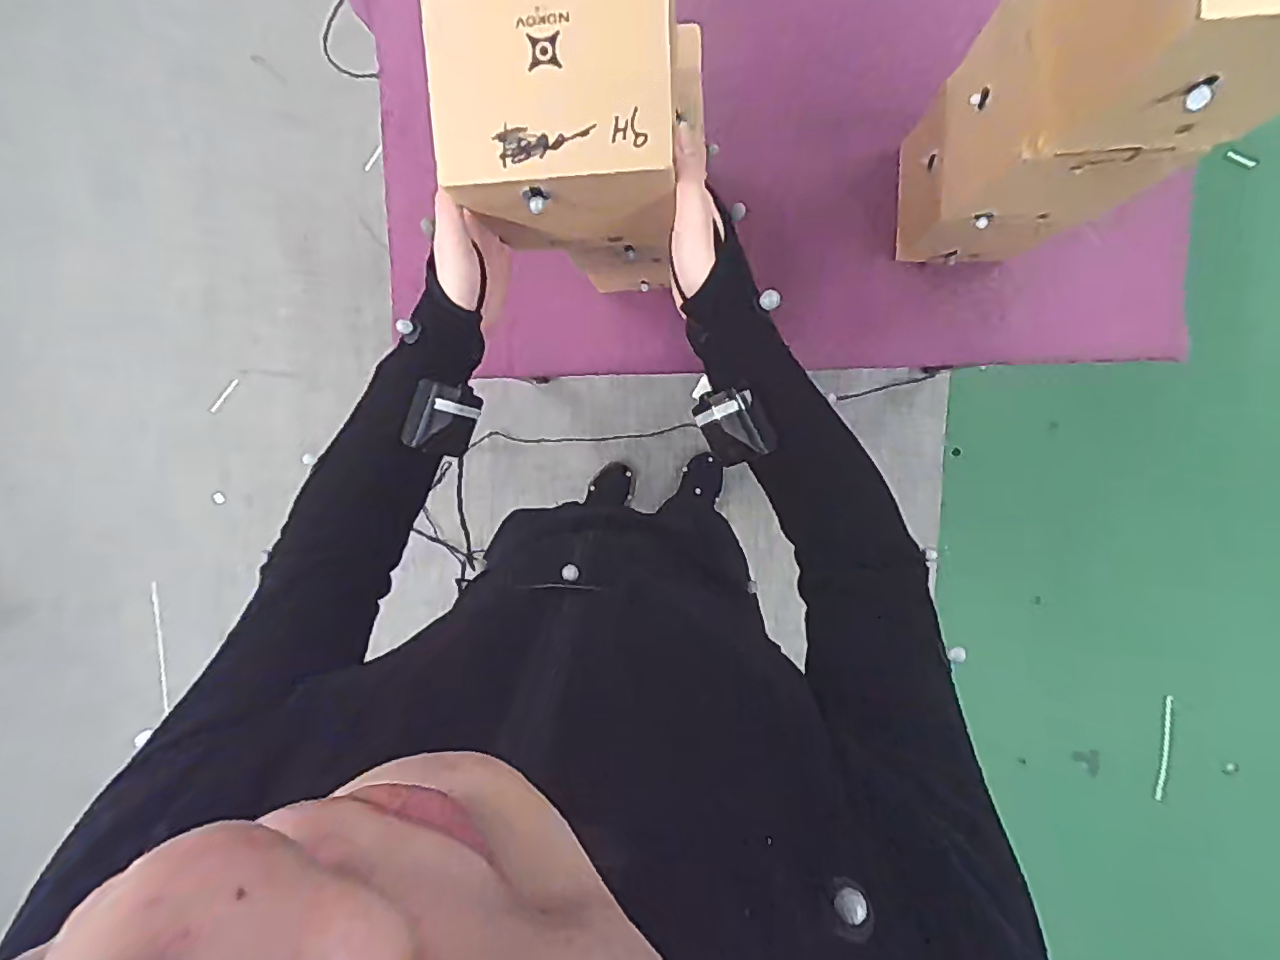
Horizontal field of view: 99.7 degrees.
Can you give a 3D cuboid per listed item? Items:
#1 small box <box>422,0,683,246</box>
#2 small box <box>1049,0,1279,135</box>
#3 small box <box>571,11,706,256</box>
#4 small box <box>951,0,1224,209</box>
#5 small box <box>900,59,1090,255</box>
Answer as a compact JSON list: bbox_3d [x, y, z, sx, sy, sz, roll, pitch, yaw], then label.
[{"bbox_3d":[-0.053,-0.302,0.426,0.168,0.176,0.179,-1,99,7],"label":"small box"},{"bbox_3d":[0.434,-0.380,0.391,0.168,0.176,0.179,-1,94,8],"label":"small box"},{"bbox_3d":[-0.011,-0.360,0.602,0.168,0.176,0.179,-2,97,6],"label":"small box"},{"bbox_3d":[0.441,-0.394,0.553,0.168,0.176,0.179,1,94,7],"label":"small box"},{"bbox_3d":[0.460,-0.414,0.714,0.168,0.176,0.179,2,96,7],"label":"small box"}]
